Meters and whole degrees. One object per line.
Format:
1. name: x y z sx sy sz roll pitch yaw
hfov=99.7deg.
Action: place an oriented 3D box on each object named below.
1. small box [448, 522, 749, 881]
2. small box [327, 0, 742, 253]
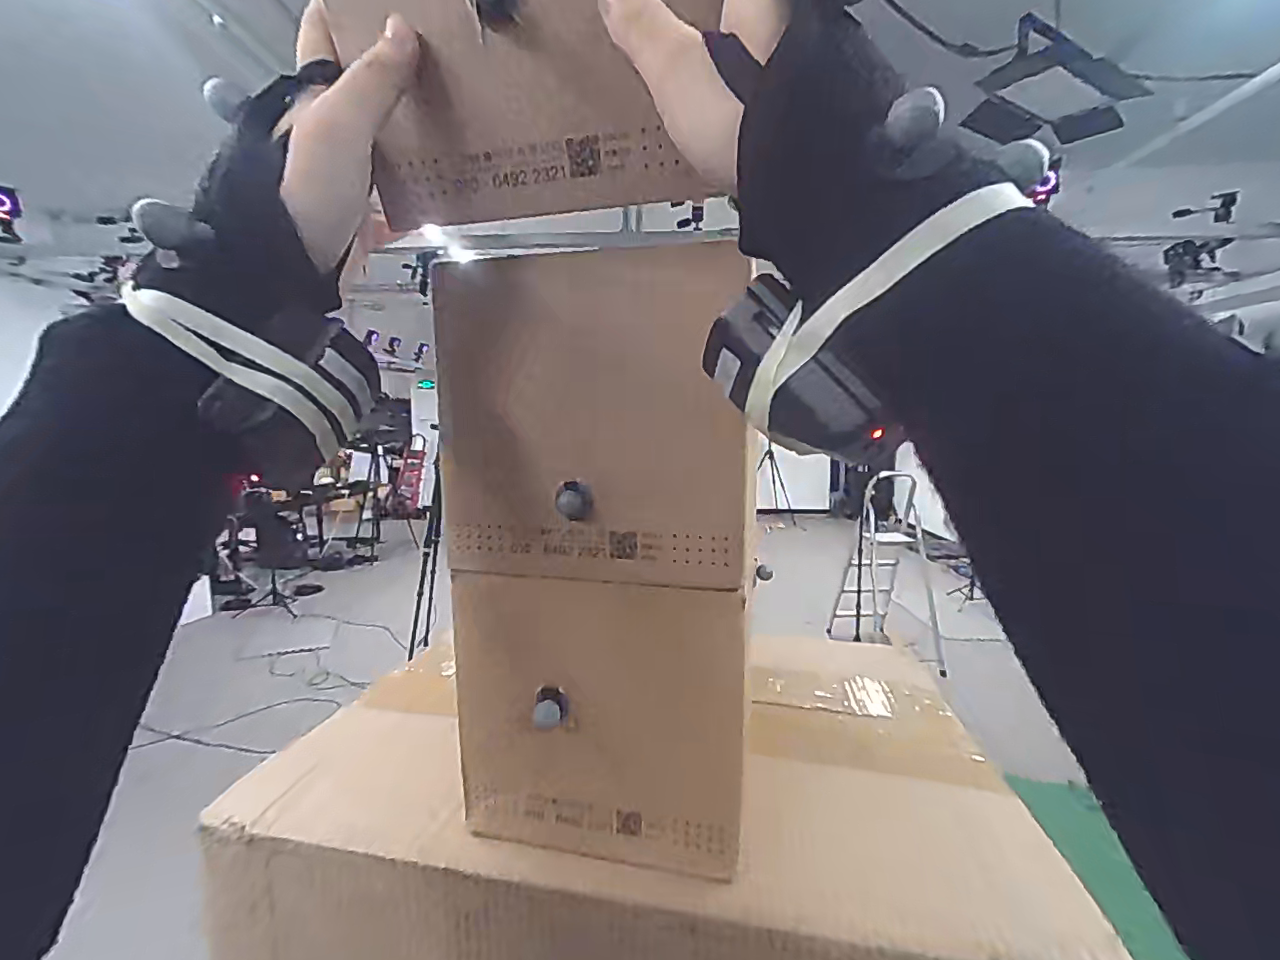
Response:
1. small box: -0.010 0.131 0.380 0.168 0.176 0.179 2 8 13
2. small box: -0.035 -0.220 0.288 0.168 0.176 0.179 1 27 14
